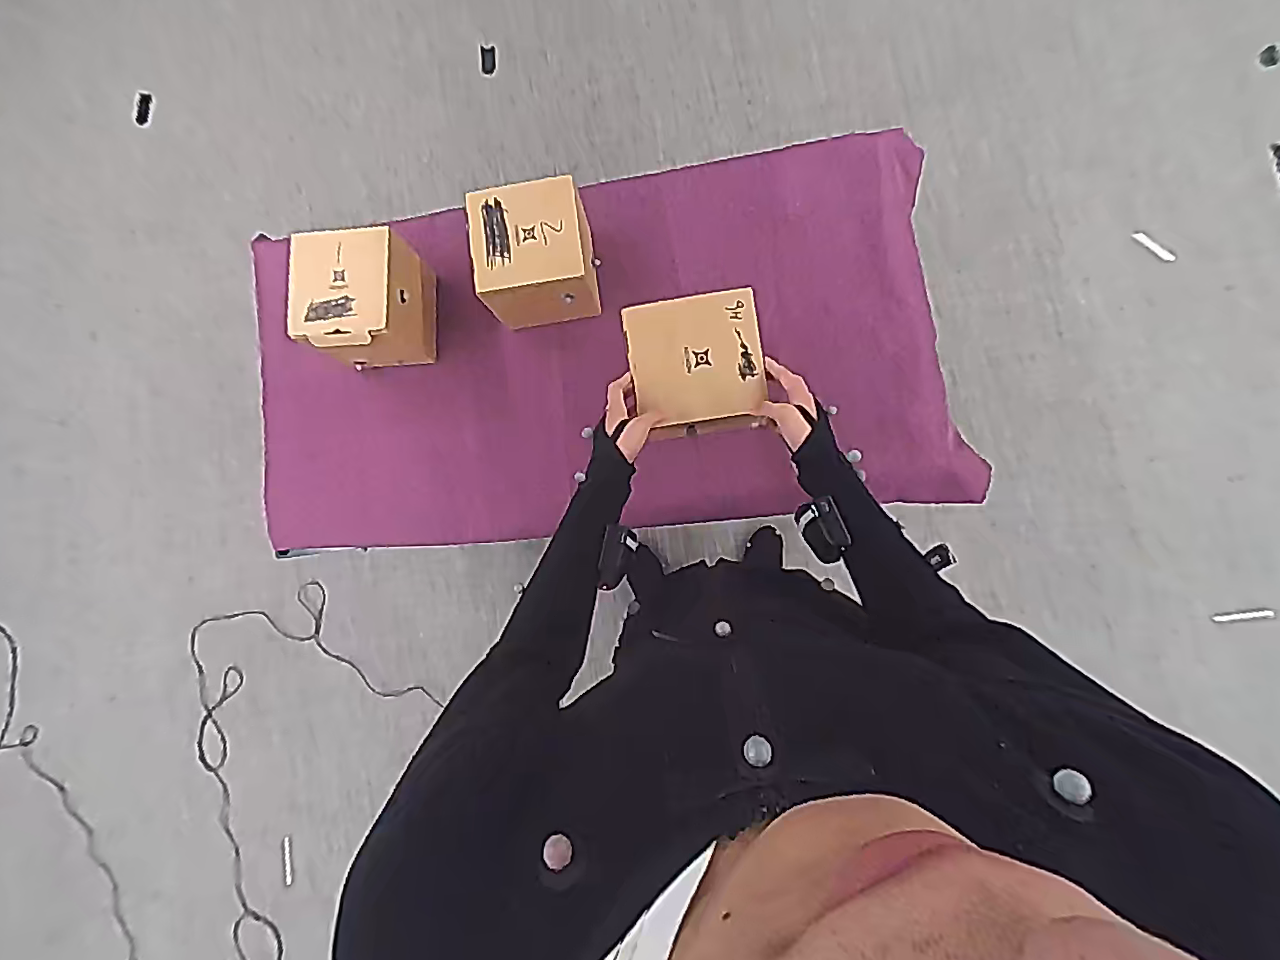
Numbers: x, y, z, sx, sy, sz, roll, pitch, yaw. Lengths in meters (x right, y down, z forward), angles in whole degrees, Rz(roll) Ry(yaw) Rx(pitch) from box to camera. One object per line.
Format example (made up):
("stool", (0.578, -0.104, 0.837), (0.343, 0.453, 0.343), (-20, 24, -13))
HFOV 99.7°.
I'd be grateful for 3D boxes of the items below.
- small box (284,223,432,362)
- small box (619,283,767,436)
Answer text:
("small box", (-0.470, -0.307, 0.924), (0.168, 0.176, 0.179), (-3, 85, 4))
("small box", (0.075, -0.159, 0.775), (0.179, 0.176, 0.168), (-8, 89, 5))
